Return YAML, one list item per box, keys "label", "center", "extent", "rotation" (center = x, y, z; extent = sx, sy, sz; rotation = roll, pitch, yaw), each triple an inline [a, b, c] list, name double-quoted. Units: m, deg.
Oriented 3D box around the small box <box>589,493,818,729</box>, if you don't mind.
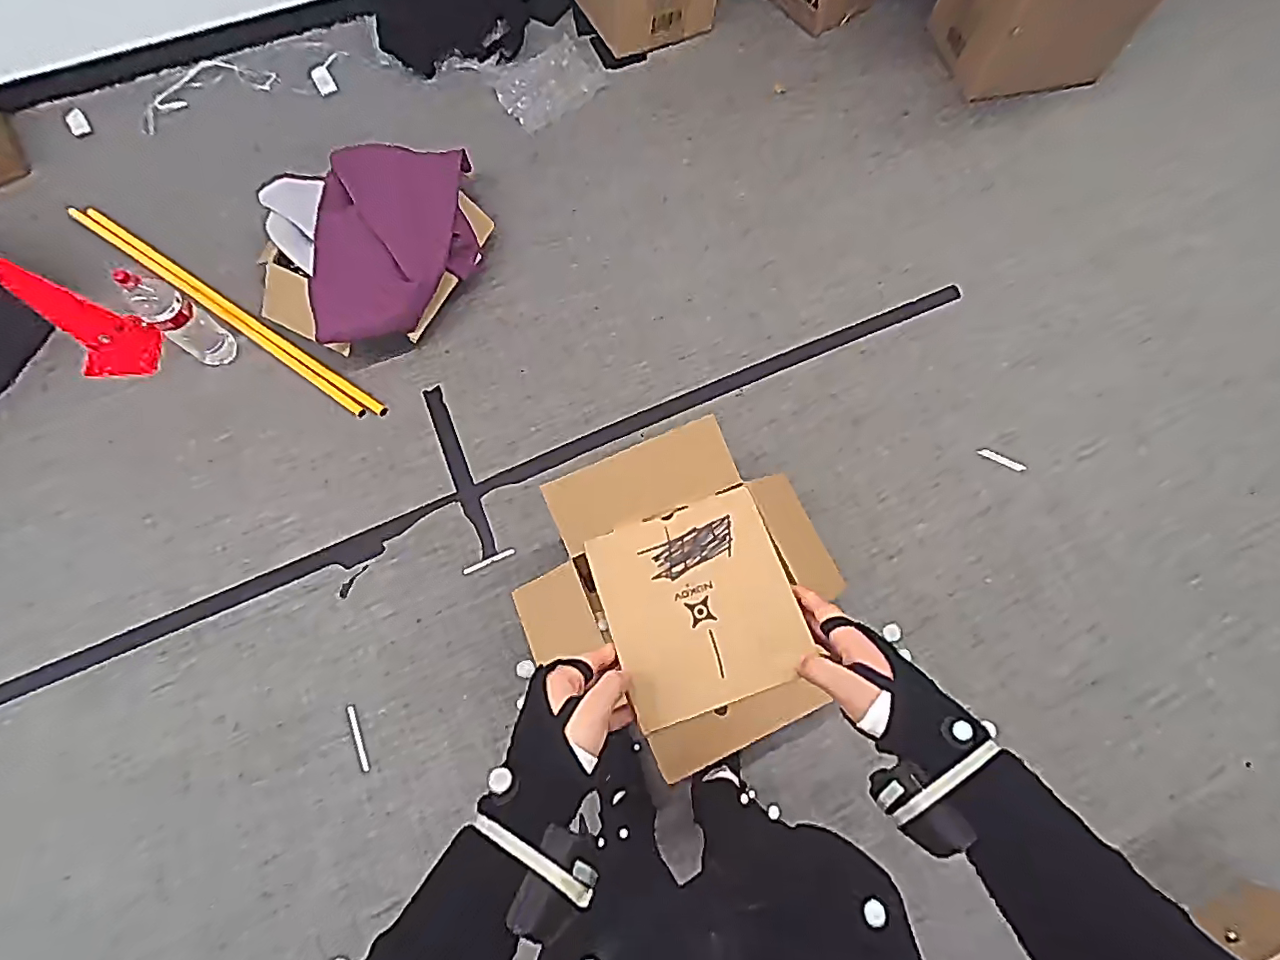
- label: "small box"
  center: [0.055, 0.139, 0.567]
  extent: [0.168, 0.176, 0.179]
  rotation: [-19, 71, -4]
